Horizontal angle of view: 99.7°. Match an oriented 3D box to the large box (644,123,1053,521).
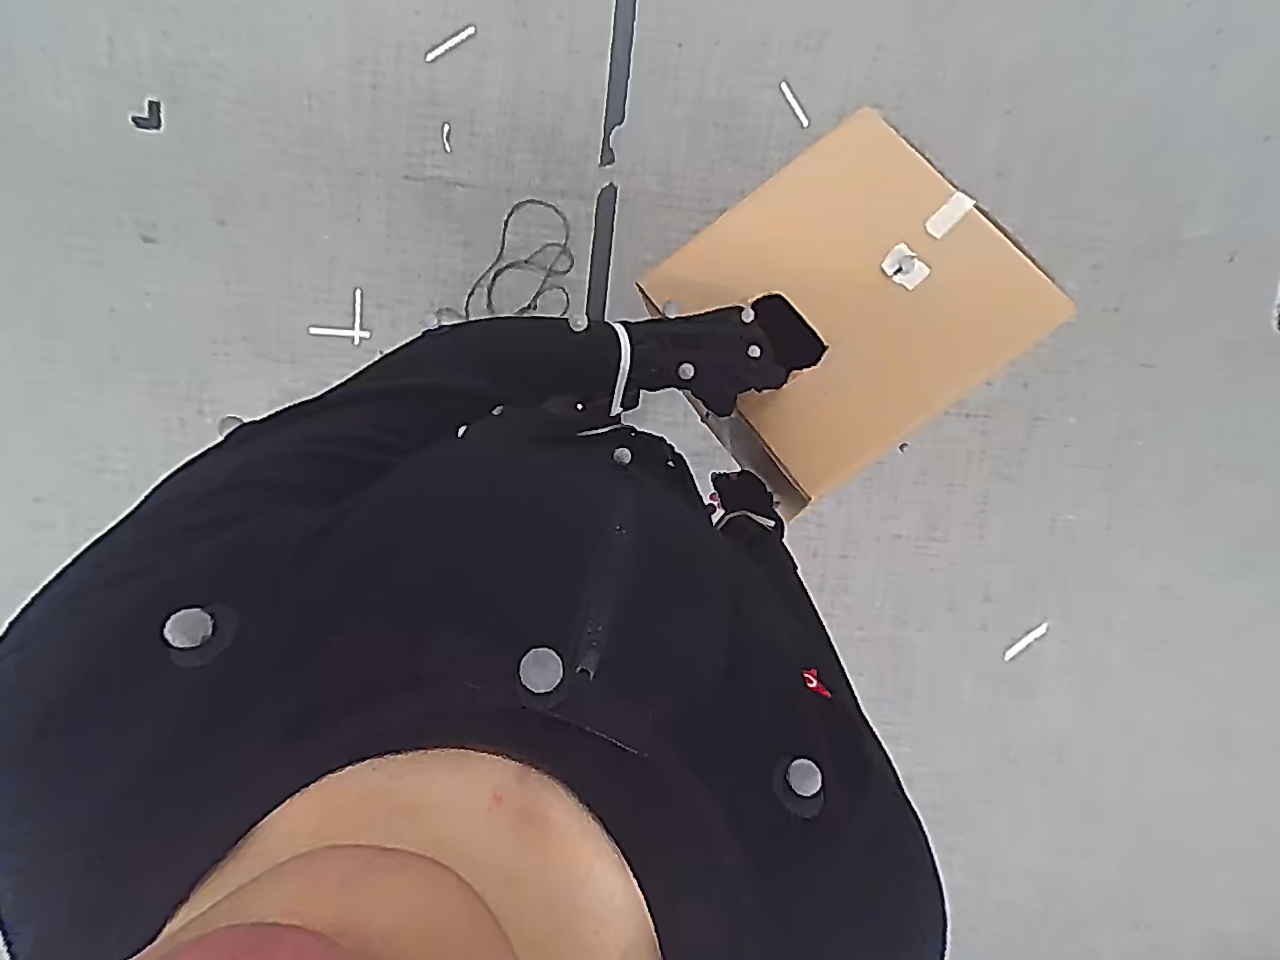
[{"bbox_3d":[0.252,-0.168,0.762,0.320,0.408,0.320,-36,76,6],"label":"large box"}]
